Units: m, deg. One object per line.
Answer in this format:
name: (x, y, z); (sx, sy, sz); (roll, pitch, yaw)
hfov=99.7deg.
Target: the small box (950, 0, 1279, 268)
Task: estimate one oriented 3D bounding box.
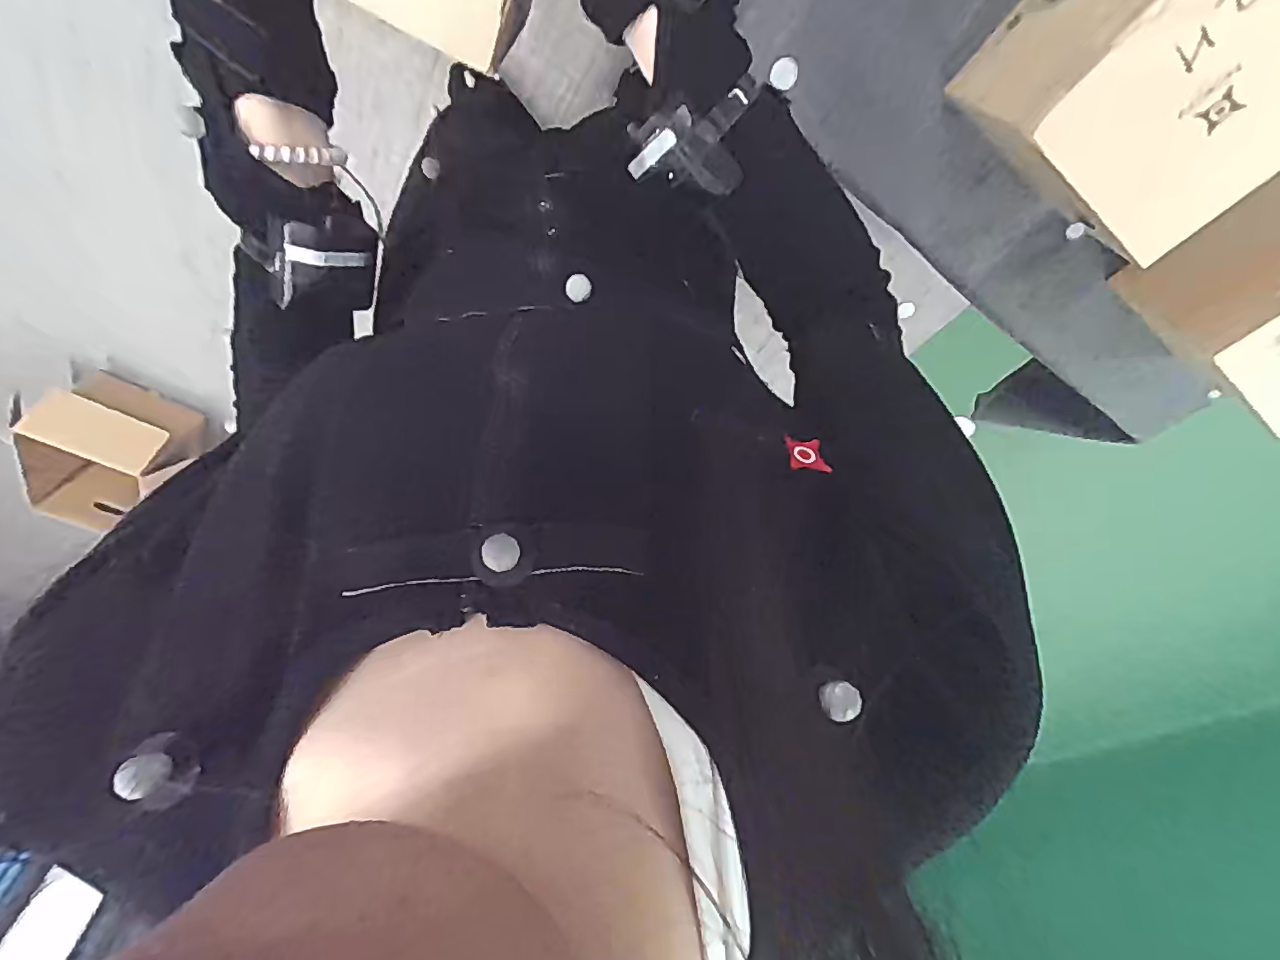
small box: (0.394, -0.314, 0.430); (0.179, 0.176, 0.168); (28, 129, -21)
